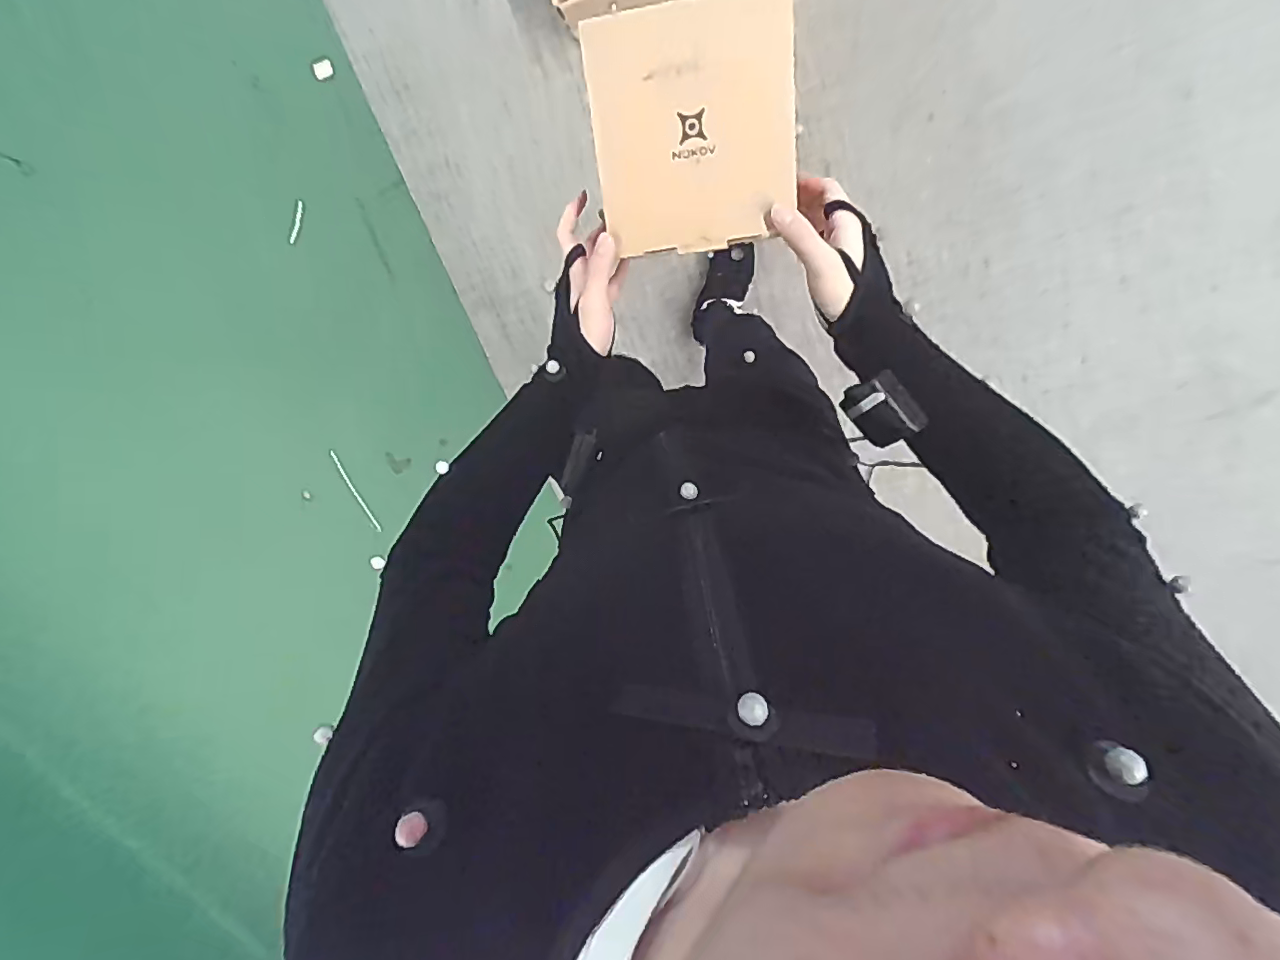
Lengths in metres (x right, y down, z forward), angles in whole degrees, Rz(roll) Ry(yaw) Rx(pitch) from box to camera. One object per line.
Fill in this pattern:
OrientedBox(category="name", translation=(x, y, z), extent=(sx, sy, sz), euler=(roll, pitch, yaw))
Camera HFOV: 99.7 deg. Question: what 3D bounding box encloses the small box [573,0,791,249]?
OrientedBox(category="small box", translation=(0.046, -0.321, 0.509), extent=(0.168, 0.176, 0.179), euler=(-5, 111, 8))
